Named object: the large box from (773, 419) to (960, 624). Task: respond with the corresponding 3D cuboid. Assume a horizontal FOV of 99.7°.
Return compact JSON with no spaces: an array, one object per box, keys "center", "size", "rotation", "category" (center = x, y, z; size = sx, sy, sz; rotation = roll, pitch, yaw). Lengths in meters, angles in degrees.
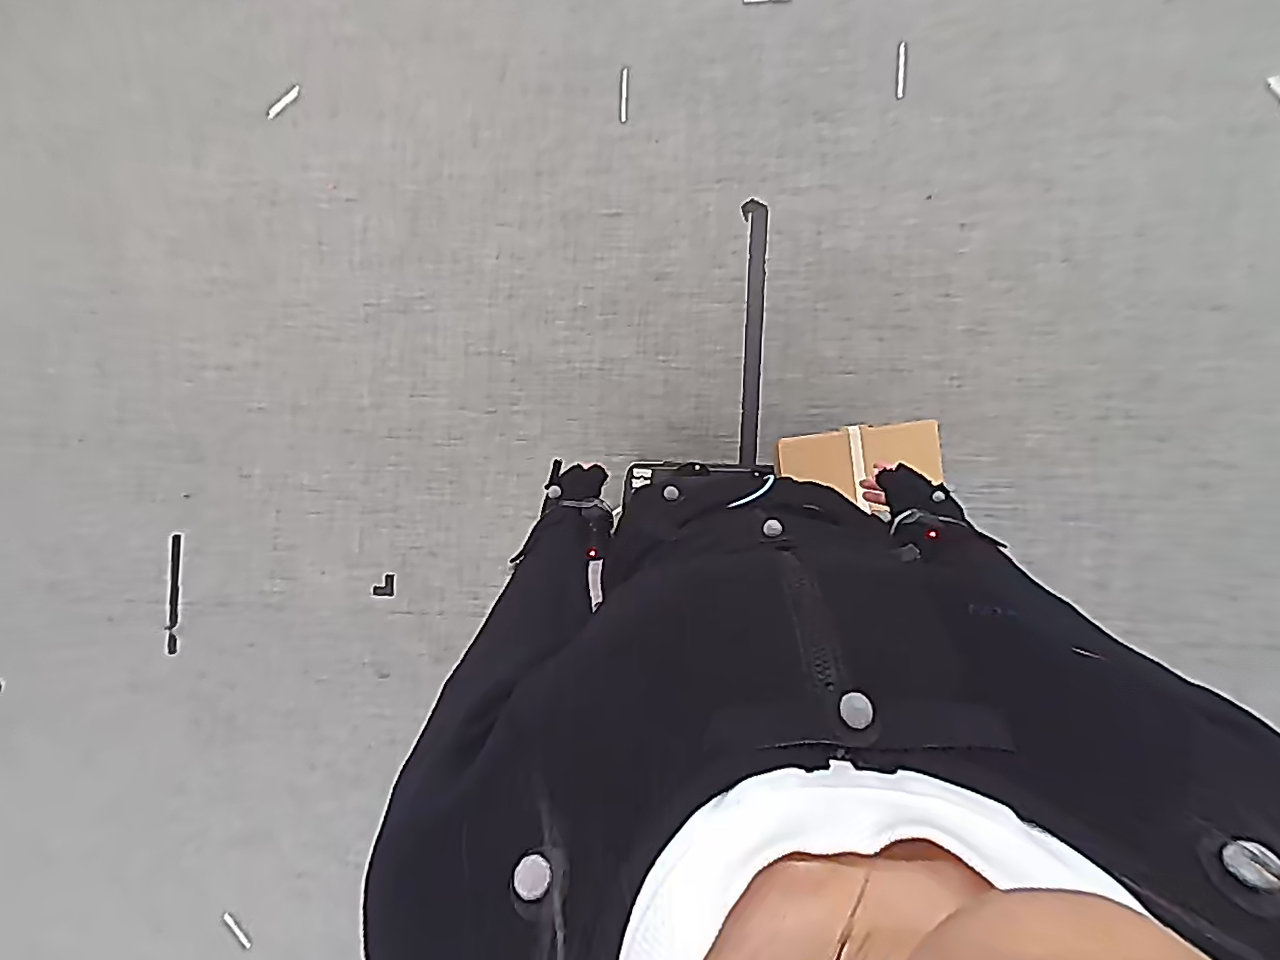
[{"center":[0.500,0.085,1.264],"size":[0.320,0.320,0.408],"rotation":[-7,91,12],"category":"large box"}]
